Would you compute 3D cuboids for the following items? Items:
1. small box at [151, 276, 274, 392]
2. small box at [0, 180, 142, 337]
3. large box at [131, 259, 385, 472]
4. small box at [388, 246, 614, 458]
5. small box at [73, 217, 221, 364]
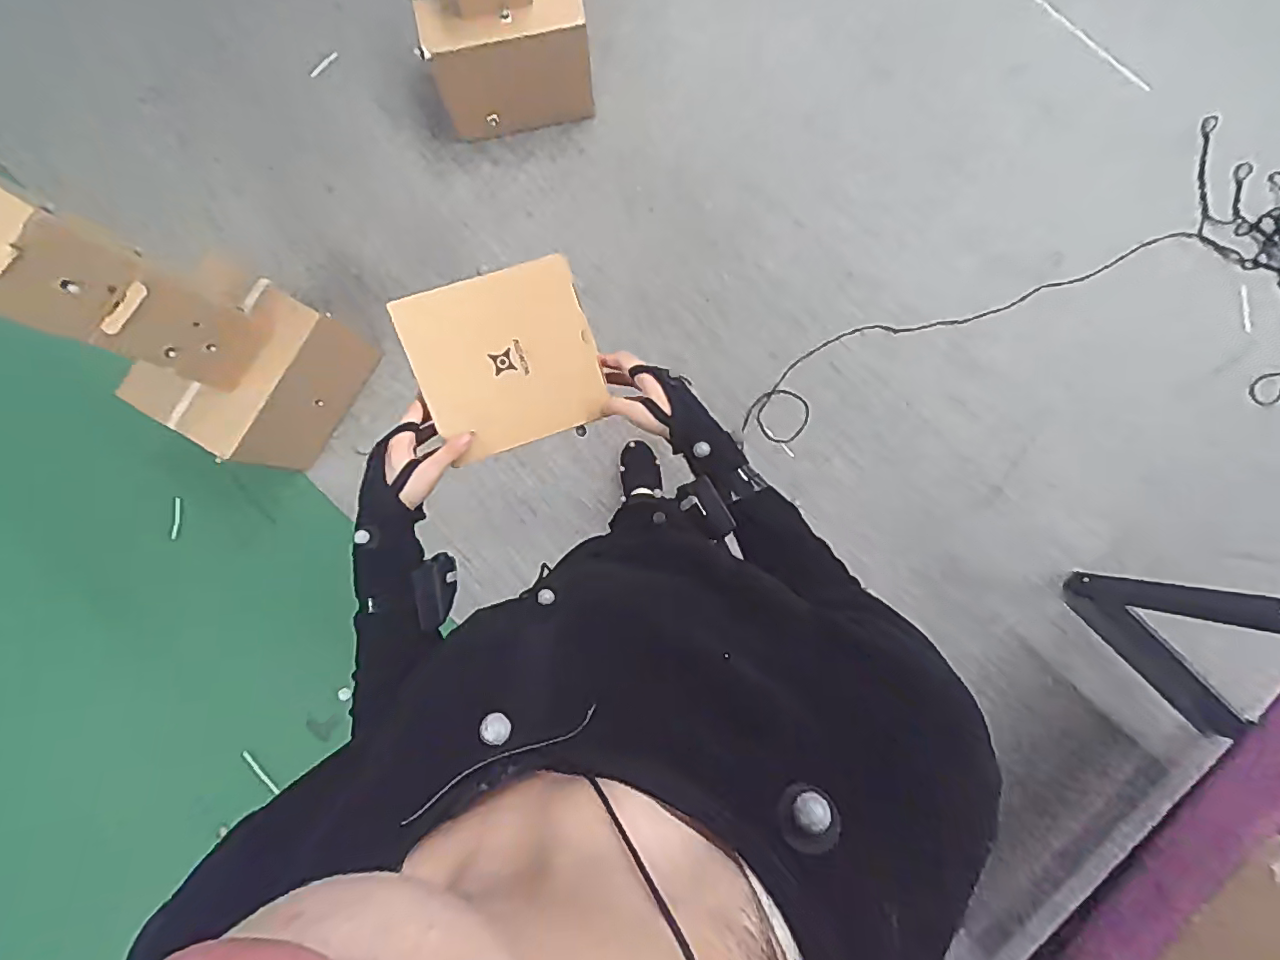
[{"bbox_3d":[-0.944,-0.313,1.163,0.168,0.176,0.179,34,87,1],"label":"small box"},{"bbox_3d":[-0.949,-0.344,0.836,0.179,0.176,0.168,34,87,1],"label":"small box"},{"bbox_3d":[-0.955,-0.272,1.405,0.320,0.320,0.408,30,88,4],"label":"large box"},{"bbox_3d":[-0.144,-0.134,0.601,0.179,0.176,0.168,-20,103,-9],"label":"small box"},{"bbox_3d":[-0.943,-0.335,1.000,0.179,0.176,0.168,35,87,2],"label":"small box"}]
